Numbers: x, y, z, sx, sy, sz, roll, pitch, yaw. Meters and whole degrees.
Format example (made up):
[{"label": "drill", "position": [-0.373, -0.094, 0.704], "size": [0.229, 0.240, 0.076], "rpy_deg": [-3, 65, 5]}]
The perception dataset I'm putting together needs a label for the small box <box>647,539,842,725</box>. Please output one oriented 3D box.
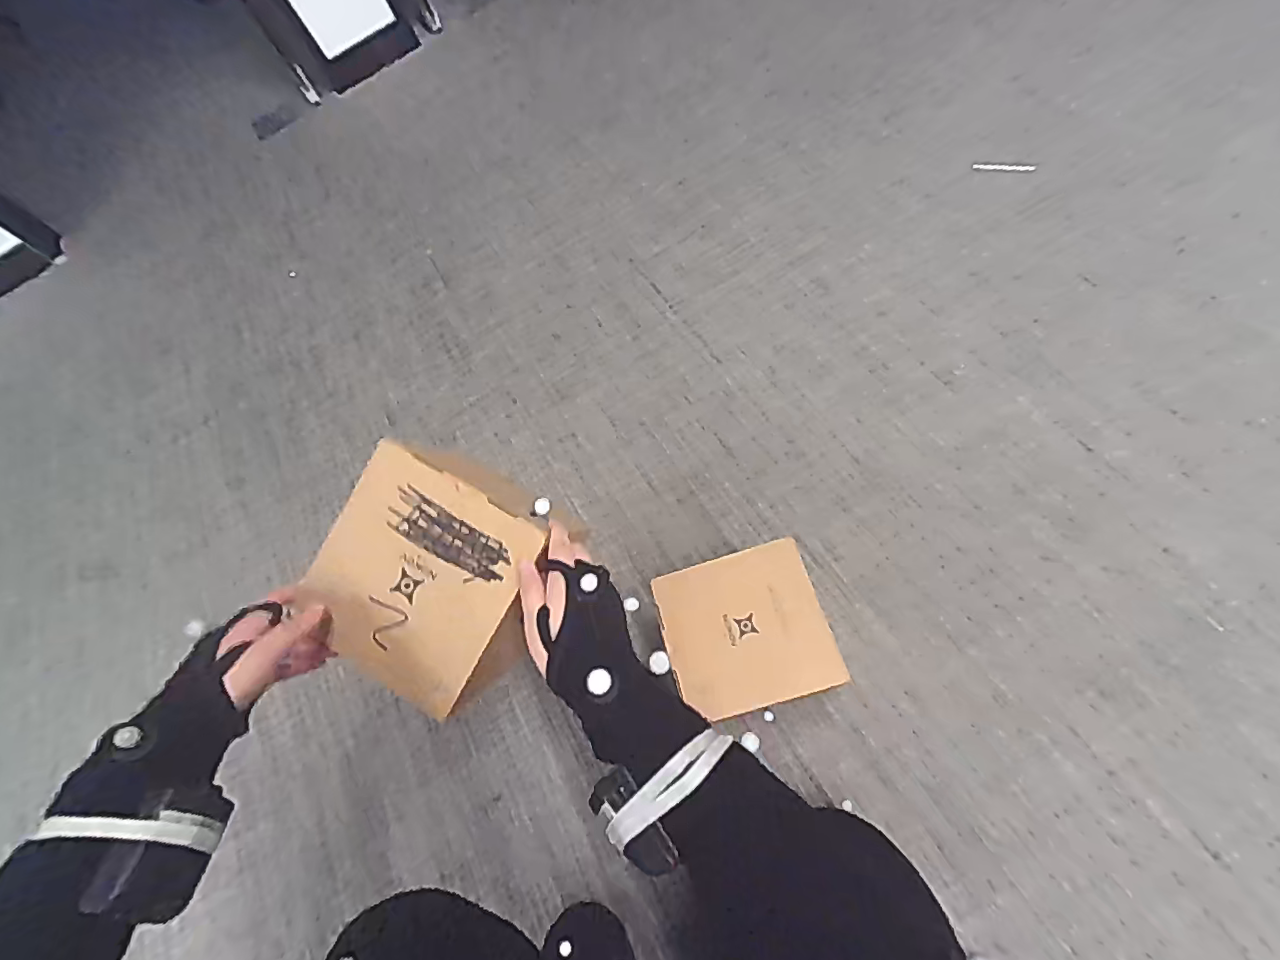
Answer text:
[{"label": "small box", "position": [0.125, 0.195, 0.662], "size": [0.179, 0.176, 0.168], "rpy_deg": [-18, 63, 4]}]
